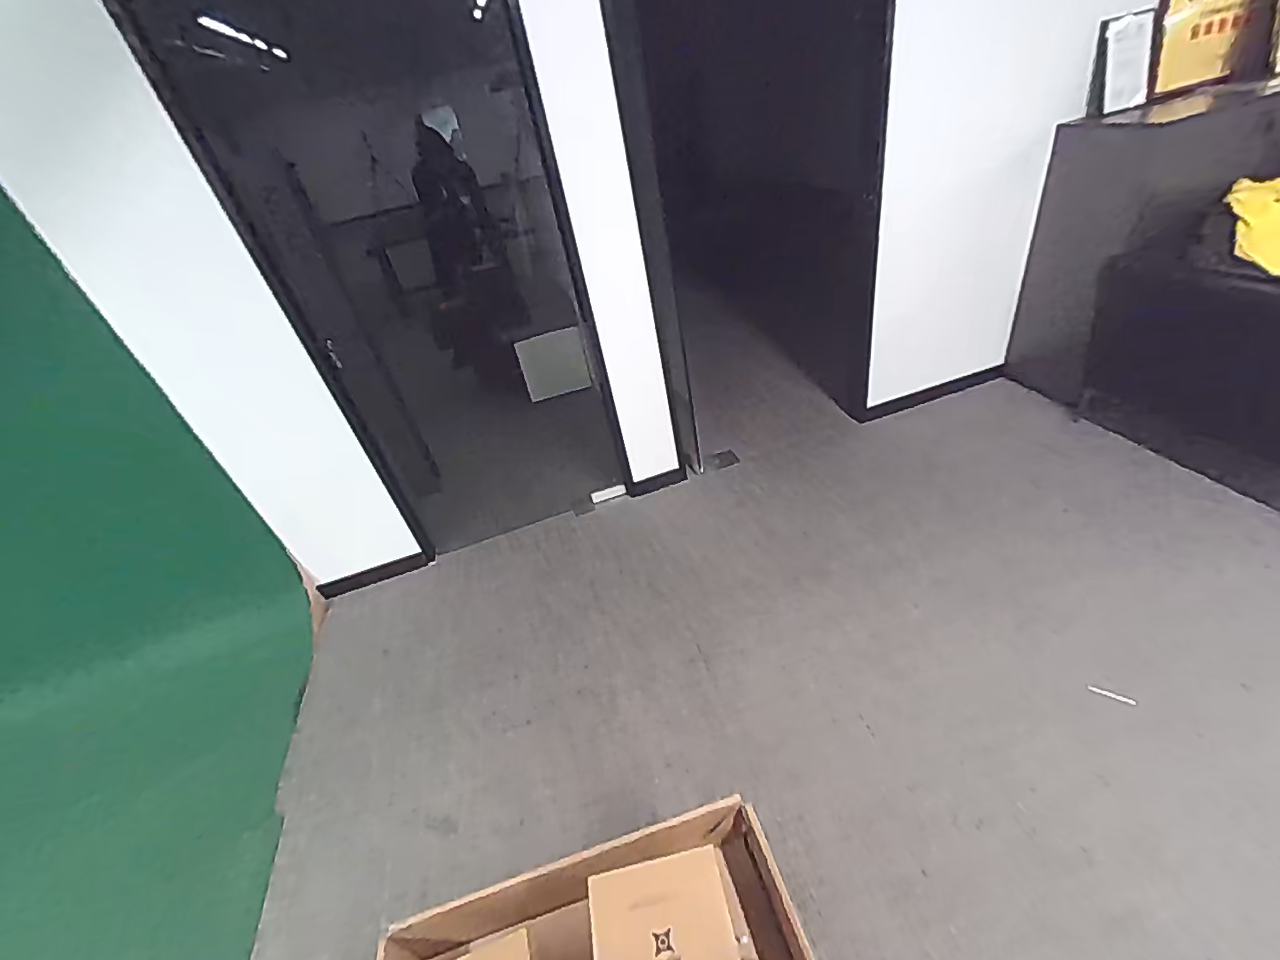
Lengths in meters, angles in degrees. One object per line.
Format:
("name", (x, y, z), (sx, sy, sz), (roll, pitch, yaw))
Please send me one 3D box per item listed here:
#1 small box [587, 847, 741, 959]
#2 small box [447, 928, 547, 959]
("small box", (0.038, 0.589, 0.654), (0.168, 0.176, 0.179), (-13, 36, -2))
("small box", (-0.206, 0.777, 0.745), (0.168, 0.176, 0.179), (-19, 37, -8))
